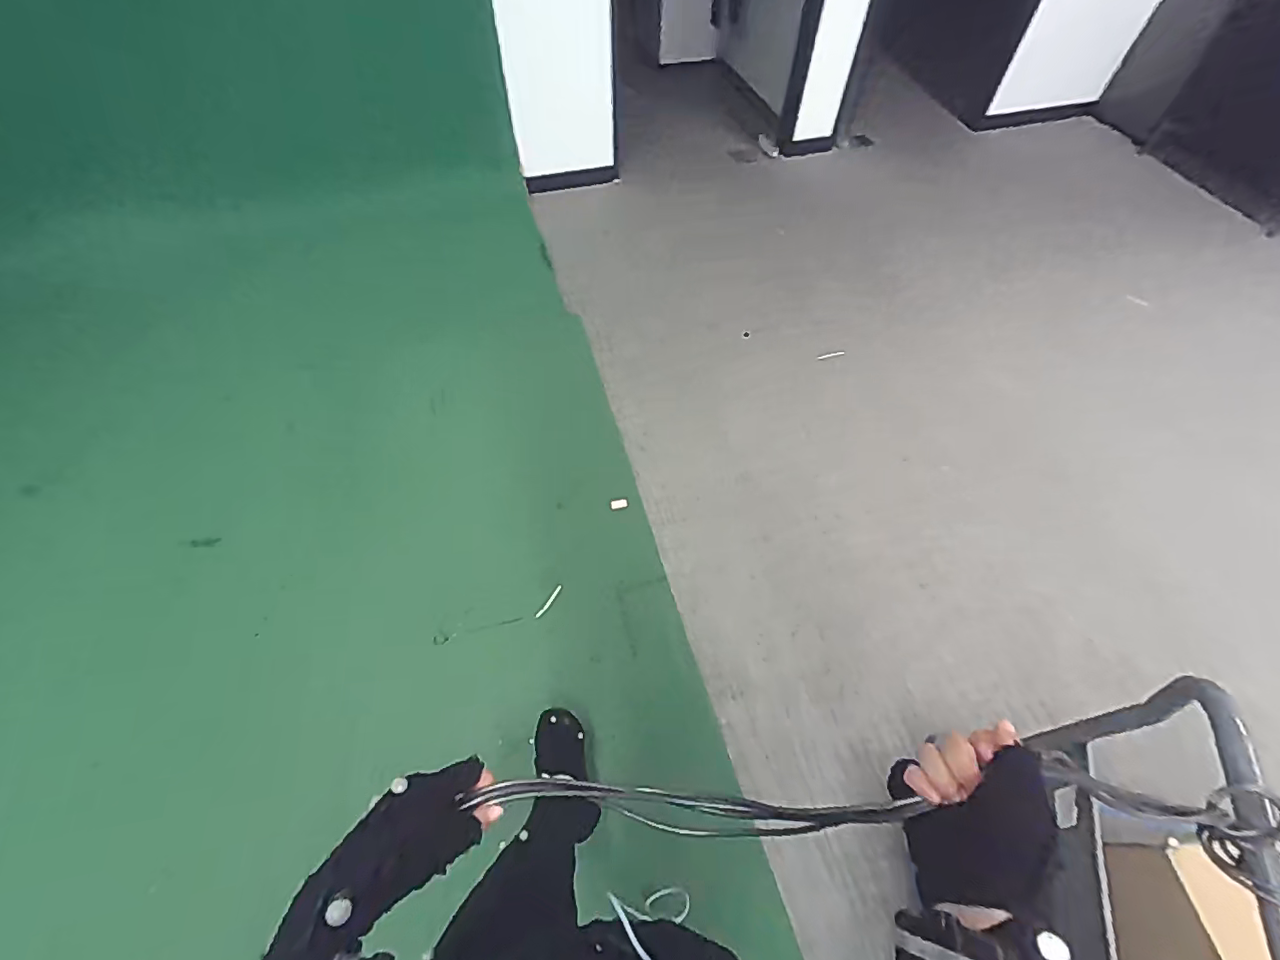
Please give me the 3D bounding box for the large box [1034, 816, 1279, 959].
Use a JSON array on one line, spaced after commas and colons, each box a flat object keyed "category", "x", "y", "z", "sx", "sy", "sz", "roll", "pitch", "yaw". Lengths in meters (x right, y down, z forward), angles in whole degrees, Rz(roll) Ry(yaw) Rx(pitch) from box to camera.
[{"category": "large box", "x": 0.943, "y": 0.782, "z": 0.847, "sx": 0.320, "sy": 0.320, "sz": 0.408, "roll": -3, "pitch": 56, "yaw": -4}]
